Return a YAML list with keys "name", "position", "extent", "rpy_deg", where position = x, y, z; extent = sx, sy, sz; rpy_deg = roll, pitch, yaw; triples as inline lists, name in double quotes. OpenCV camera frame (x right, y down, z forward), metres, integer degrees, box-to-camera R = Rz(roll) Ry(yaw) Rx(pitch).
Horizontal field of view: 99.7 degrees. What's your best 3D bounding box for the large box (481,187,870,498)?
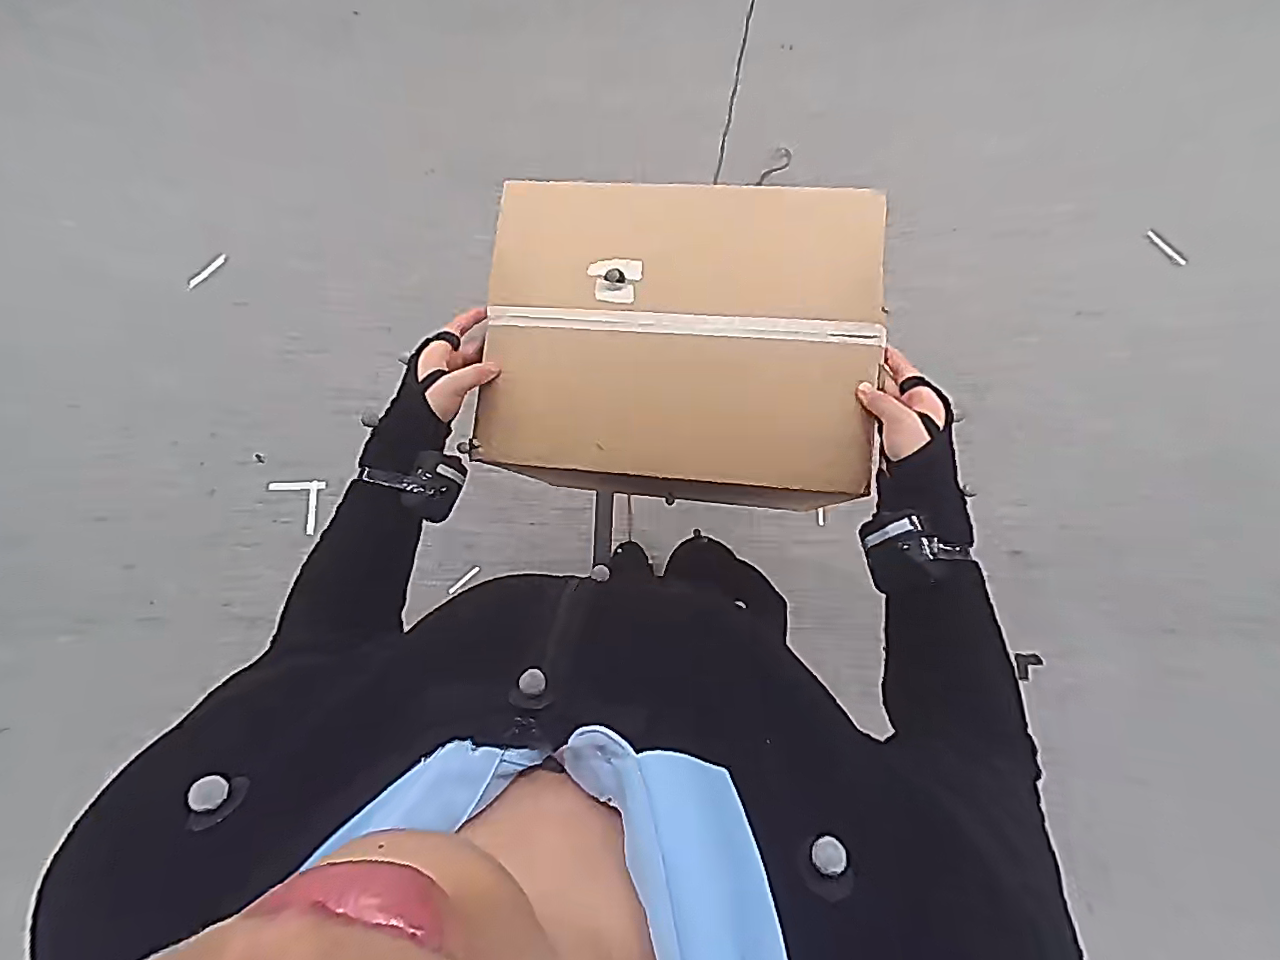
- name: "large box"
  position: [0.053, -0.146, 0.717]
  extent: [0.408, 0.320, 0.320]
  rpy_deg: [4, 83, 7]
